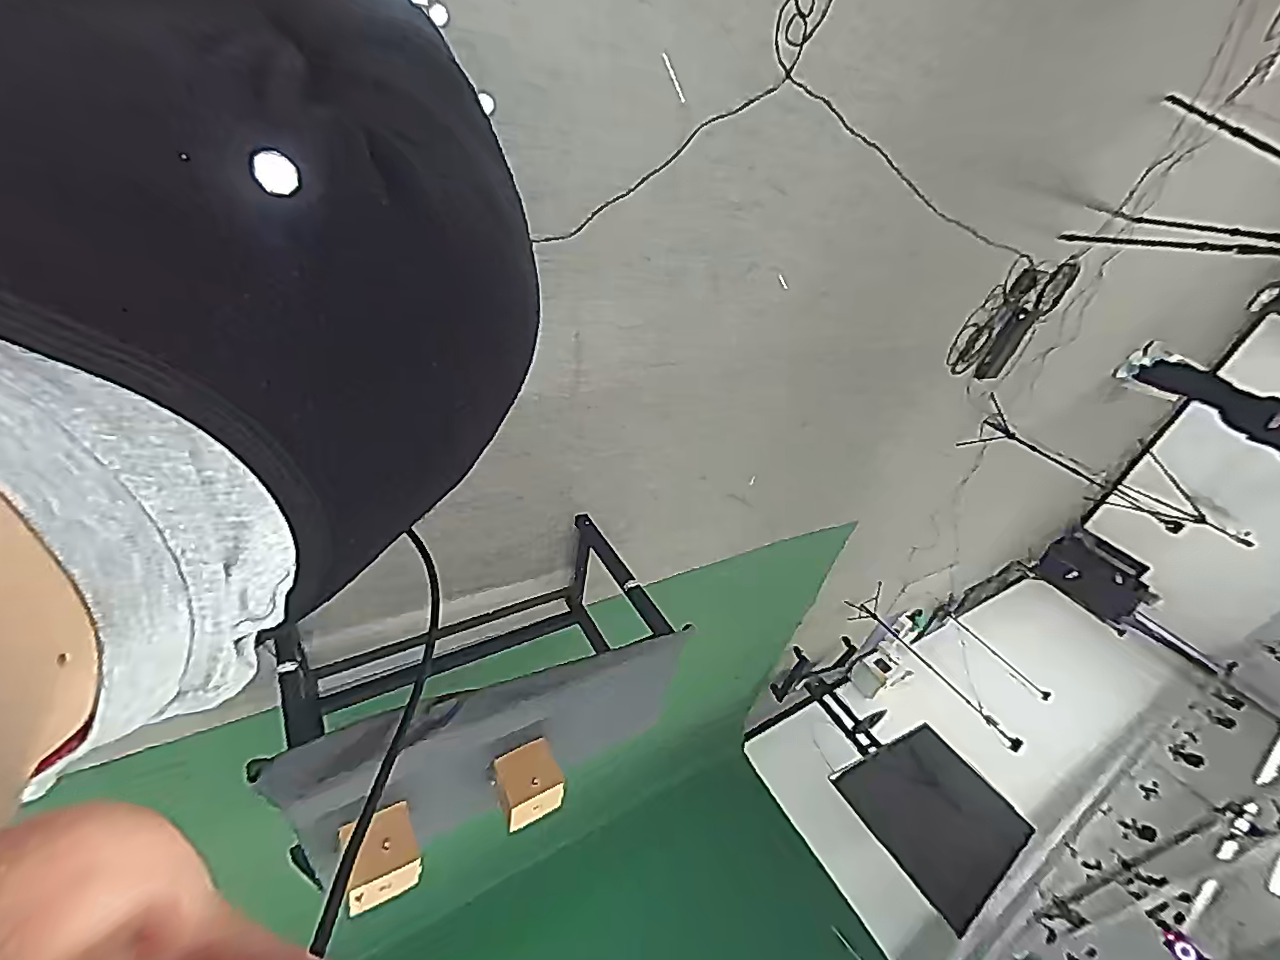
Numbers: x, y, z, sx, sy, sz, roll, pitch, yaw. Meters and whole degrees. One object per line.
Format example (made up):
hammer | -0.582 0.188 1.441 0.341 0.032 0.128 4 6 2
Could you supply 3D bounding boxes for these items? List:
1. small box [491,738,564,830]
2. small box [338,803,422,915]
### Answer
small box | -0.365 0.968 1.738 0.179 0.176 0.168 -12 131 -30
small box | -0.725 1.043 1.503 0.179 0.176 0.168 -8 129 -36
